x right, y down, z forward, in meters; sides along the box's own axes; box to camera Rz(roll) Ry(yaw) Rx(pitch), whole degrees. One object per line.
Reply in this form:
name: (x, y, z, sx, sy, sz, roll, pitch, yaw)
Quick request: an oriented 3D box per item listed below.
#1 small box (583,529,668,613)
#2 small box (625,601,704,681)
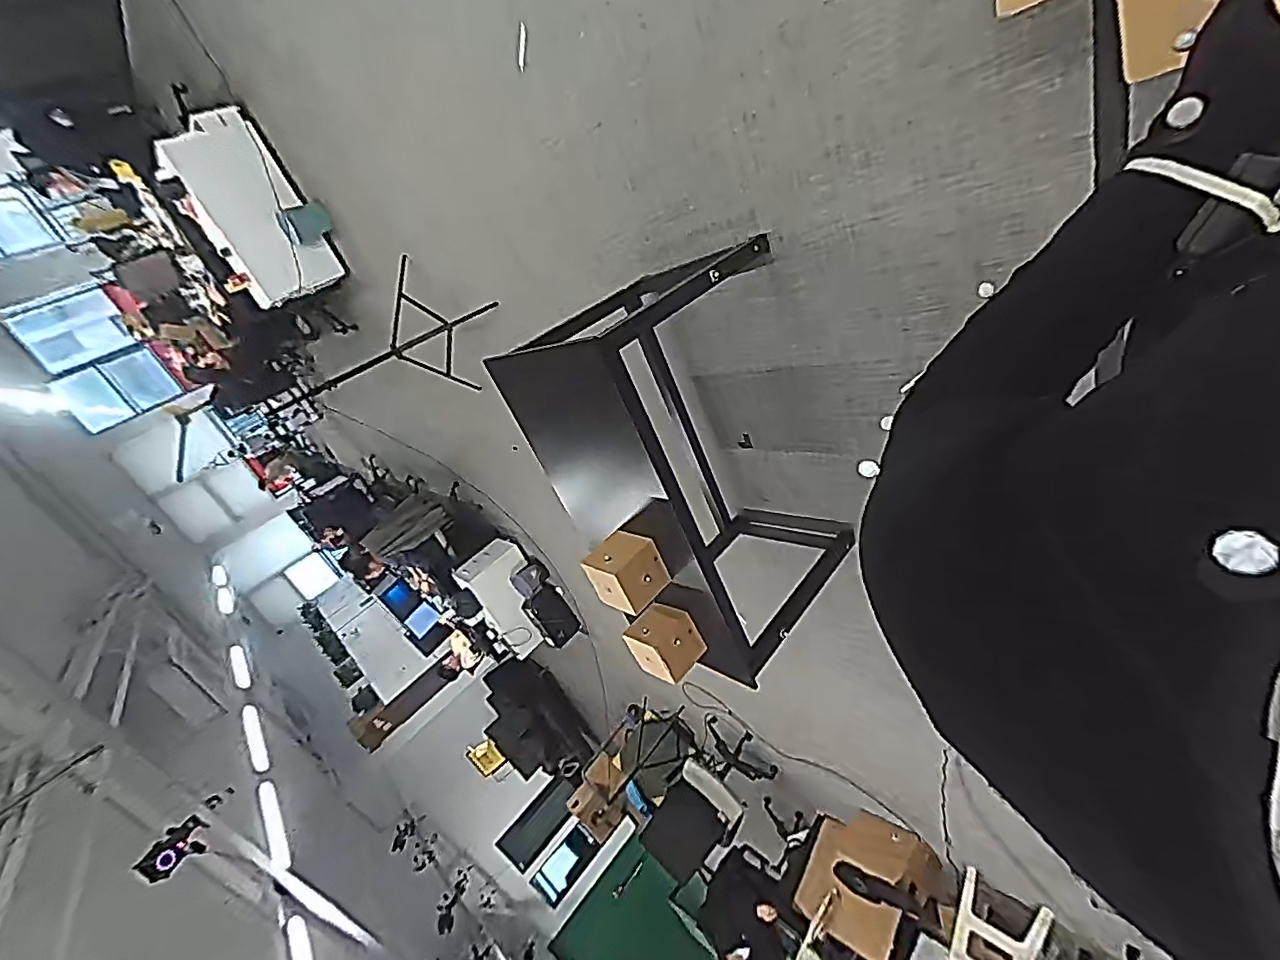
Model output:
small box: (-0.036, 0.270, 1.650, 0.179, 0.176, 0.168, 9, 131, 50)
small box: (0.088, 0.521, 1.778, 0.179, 0.176, 0.168, 2, 125, 54)
